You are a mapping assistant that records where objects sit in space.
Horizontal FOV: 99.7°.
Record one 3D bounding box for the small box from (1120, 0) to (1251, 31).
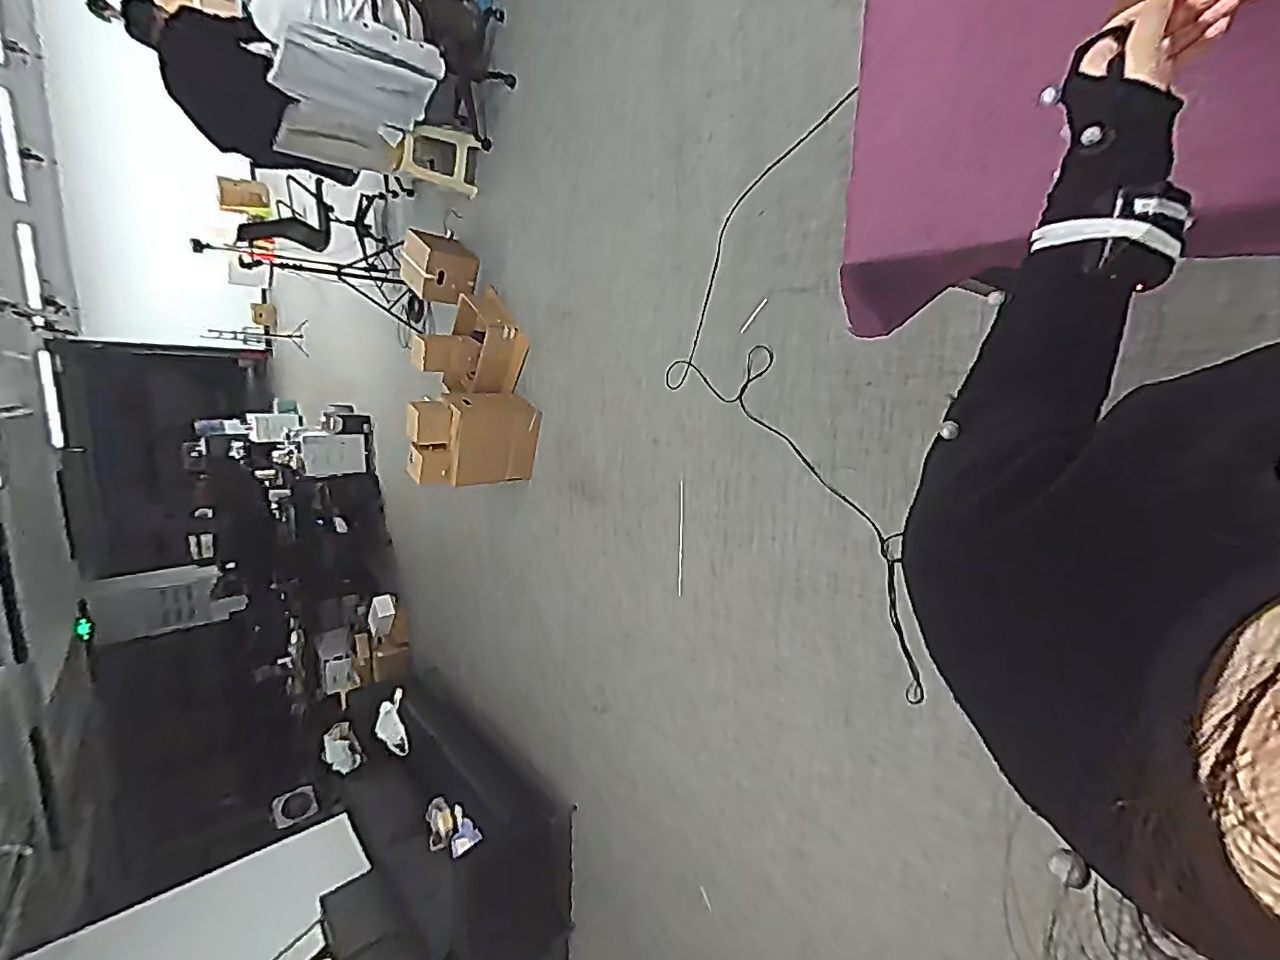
[{"bbox_3d":[0.534,-0.549,0.467,0.168,0.176,0.179,18,109,46],"label":"small box"}]
